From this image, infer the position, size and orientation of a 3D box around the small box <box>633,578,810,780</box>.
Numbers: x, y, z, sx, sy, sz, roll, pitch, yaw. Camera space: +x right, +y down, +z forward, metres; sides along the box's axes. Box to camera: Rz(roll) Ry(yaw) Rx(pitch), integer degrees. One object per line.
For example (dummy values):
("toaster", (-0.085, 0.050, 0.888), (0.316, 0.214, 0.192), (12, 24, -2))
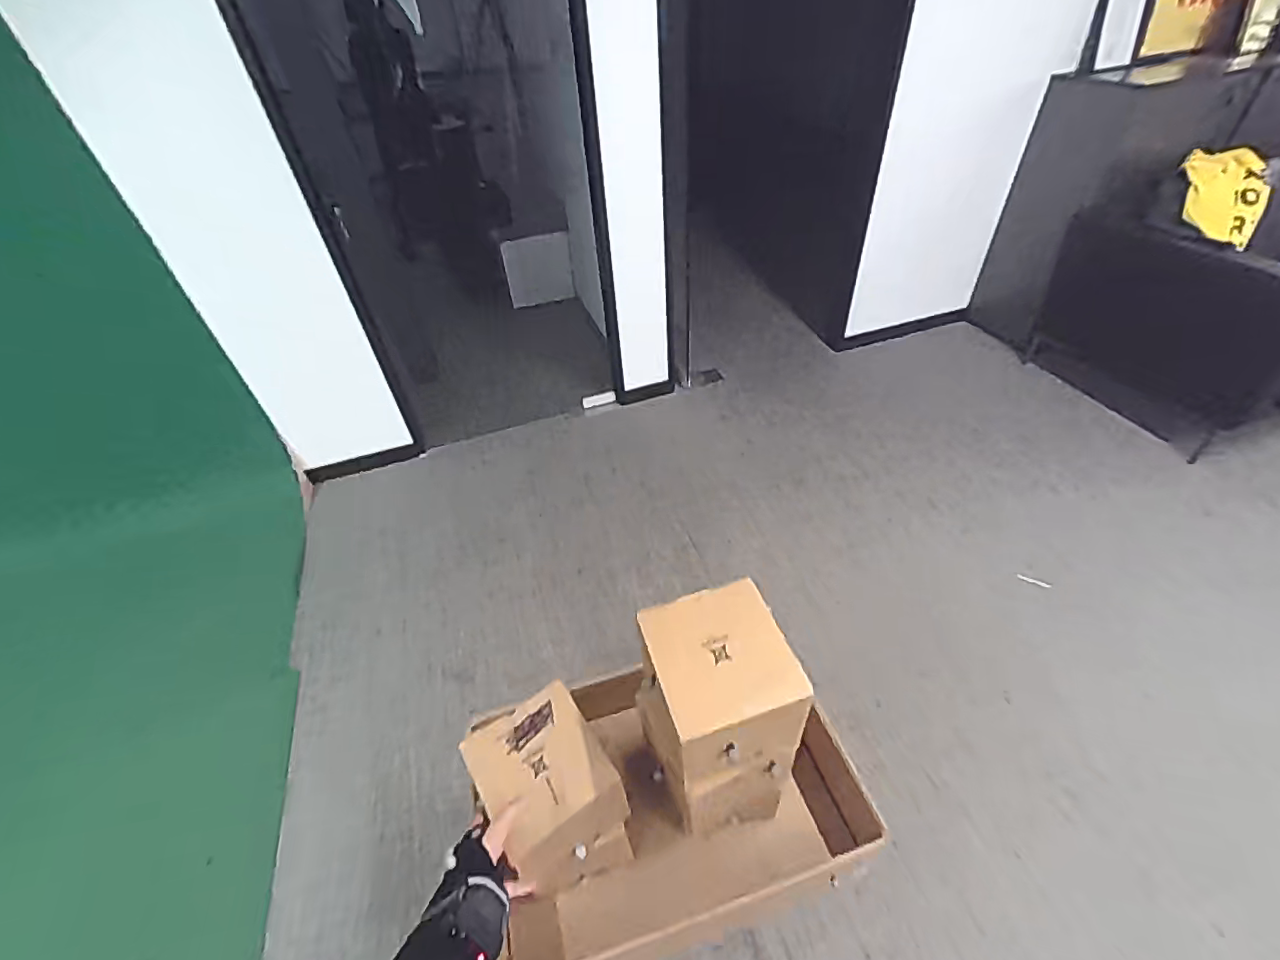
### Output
("small box", (0.100, 0.265, 0.708), (0.168, 0.176, 0.179), (-16, 43, -9))

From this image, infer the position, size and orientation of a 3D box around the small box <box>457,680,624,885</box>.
("small box", (-0.138, 0.437, 0.783), (0.168, 0.176, 0.179), (-28, 48, -22))

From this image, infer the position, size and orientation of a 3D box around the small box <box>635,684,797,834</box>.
("small box", (0.107, 0.389, 0.813), (0.179, 0.176, 0.168), (-21, 44, -15))
